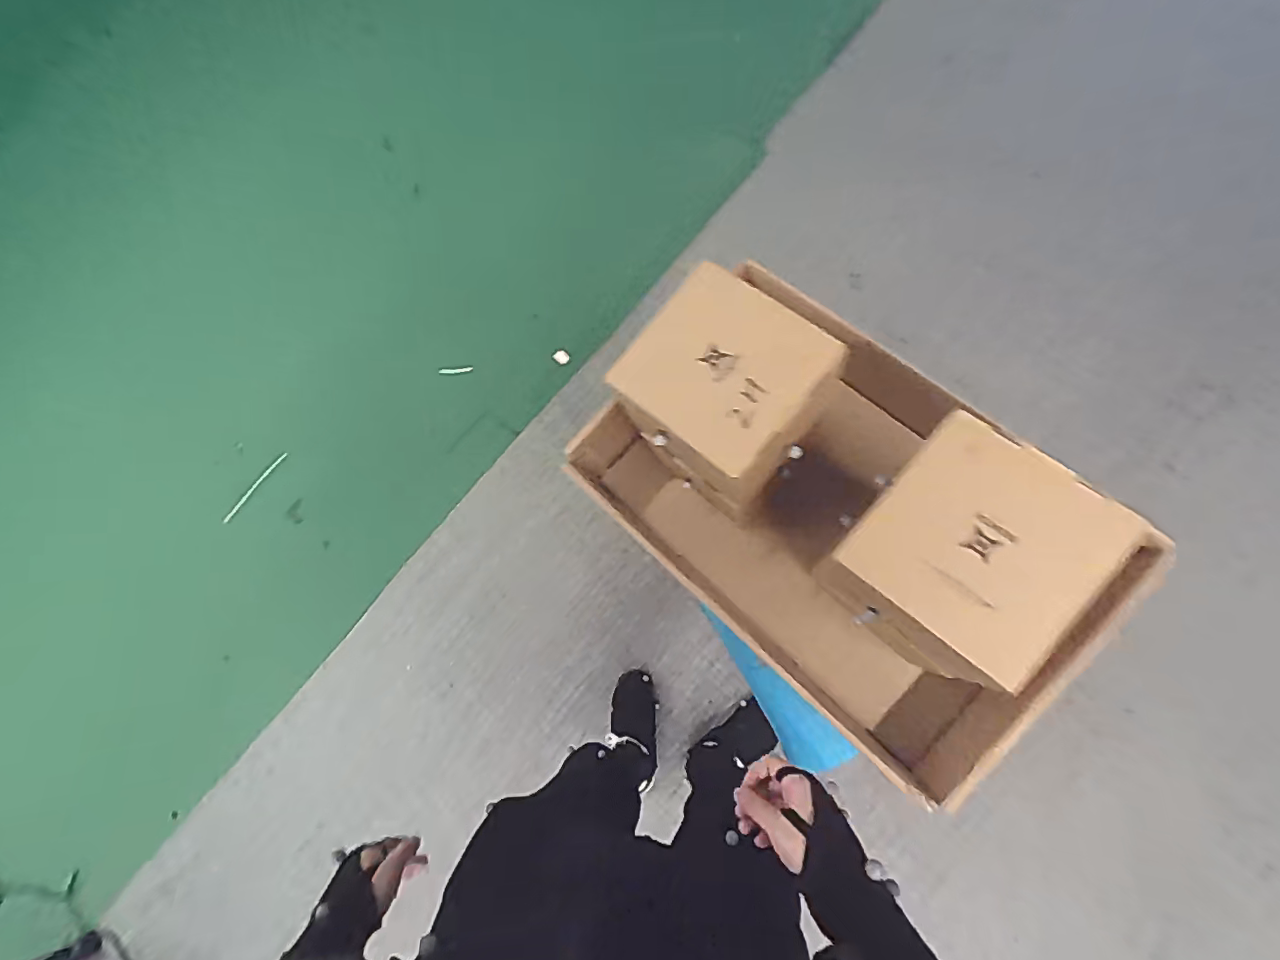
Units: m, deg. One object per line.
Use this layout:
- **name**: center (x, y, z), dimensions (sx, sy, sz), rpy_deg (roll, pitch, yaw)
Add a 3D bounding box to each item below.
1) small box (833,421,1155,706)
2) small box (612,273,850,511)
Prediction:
- **small box**: center (0.304, 0.080, 0.515), dimensions (0.168, 0.176, 0.179), rpy_deg (40, 88, 21)
- **small box**: center (0.100, -0.084, 0.606), dimensions (0.179, 0.176, 0.168), rpy_deg (40, 88, 18)
